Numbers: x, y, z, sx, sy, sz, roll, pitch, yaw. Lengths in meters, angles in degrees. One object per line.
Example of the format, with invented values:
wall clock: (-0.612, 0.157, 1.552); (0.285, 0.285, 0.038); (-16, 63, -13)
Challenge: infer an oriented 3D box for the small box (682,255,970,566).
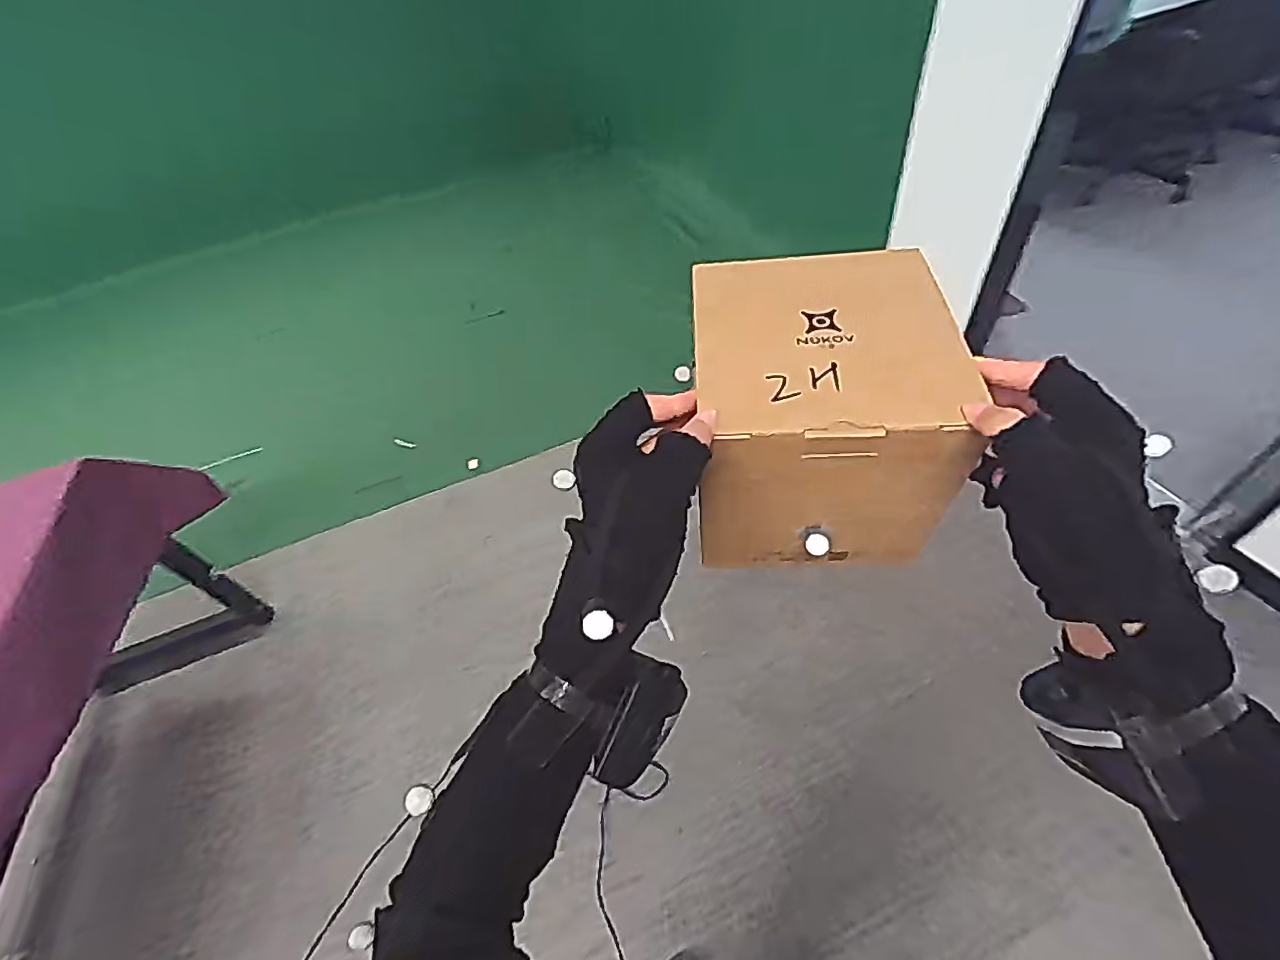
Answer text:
small box: (0.118, -0.049, 0.426); (0.168, 0.176, 0.179); (-3, 54, 7)
